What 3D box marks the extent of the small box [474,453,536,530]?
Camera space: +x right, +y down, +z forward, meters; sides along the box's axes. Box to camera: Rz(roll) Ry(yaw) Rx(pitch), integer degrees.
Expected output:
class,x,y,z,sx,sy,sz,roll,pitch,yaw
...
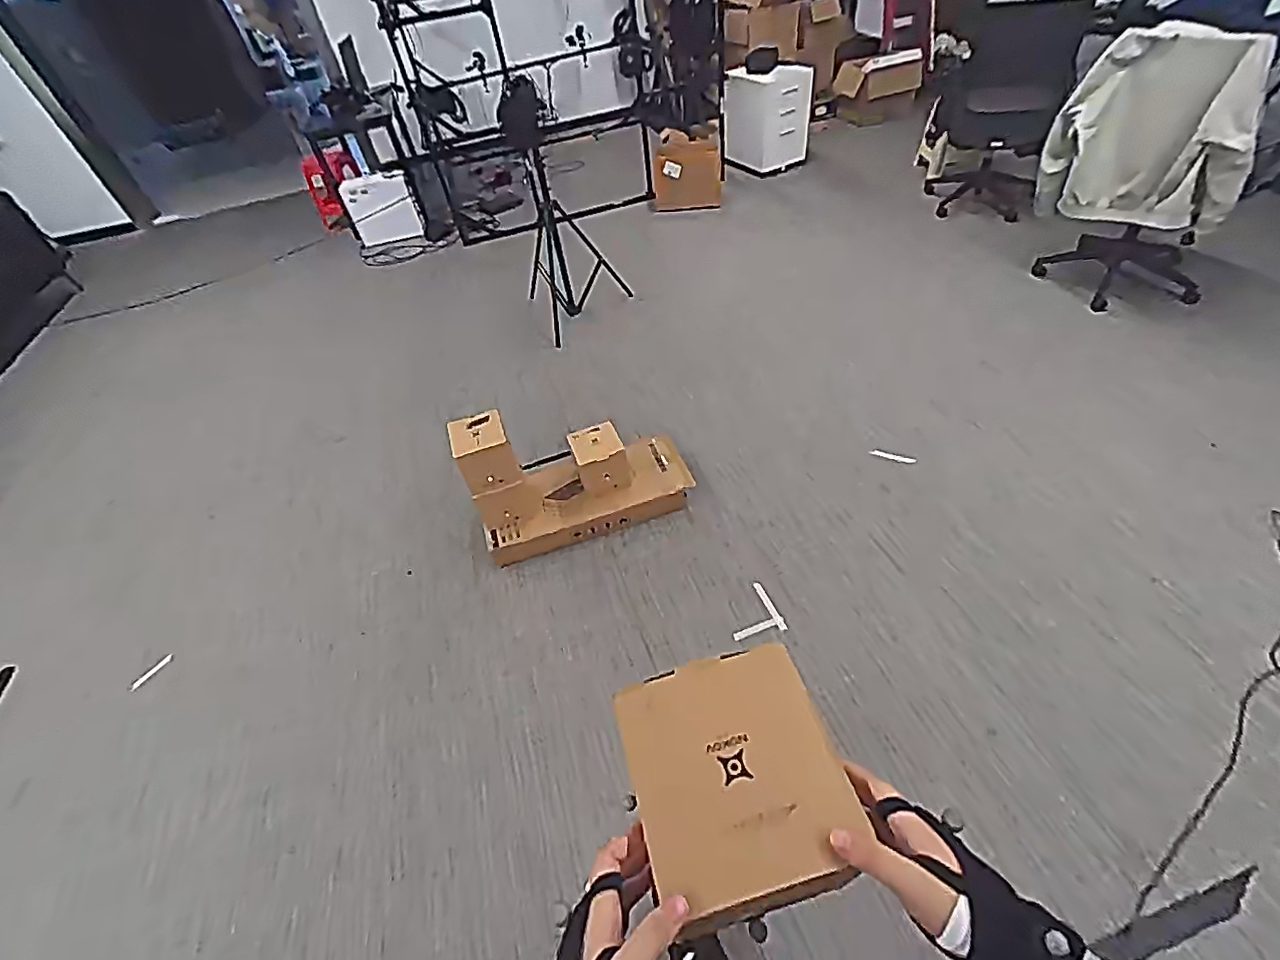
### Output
class,x,y,z,sx,sy,sz,roll,pitch,yaw
small box,-0.468,0.040,1.850,0.168,0.176,0.179,-18,46,-8

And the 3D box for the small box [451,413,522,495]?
class,x,y,z,sx,sy,sz,roll,pitch,yaw
small box,-0.494,-0.083,1.745,0.168,0.176,0.179,-19,46,-9

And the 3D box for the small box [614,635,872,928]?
class,x,y,z,sx,sy,sz,roll,pitch,yaw
small box,0.080,0.278,0.501,0.168,0.176,0.179,-15,47,-5

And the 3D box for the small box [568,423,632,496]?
class,x,y,z,sx,sy,sz,roll,pitch,yaw
small box,-0.137,-0.065,1.899,0.168,0.176,0.179,-20,47,-7
